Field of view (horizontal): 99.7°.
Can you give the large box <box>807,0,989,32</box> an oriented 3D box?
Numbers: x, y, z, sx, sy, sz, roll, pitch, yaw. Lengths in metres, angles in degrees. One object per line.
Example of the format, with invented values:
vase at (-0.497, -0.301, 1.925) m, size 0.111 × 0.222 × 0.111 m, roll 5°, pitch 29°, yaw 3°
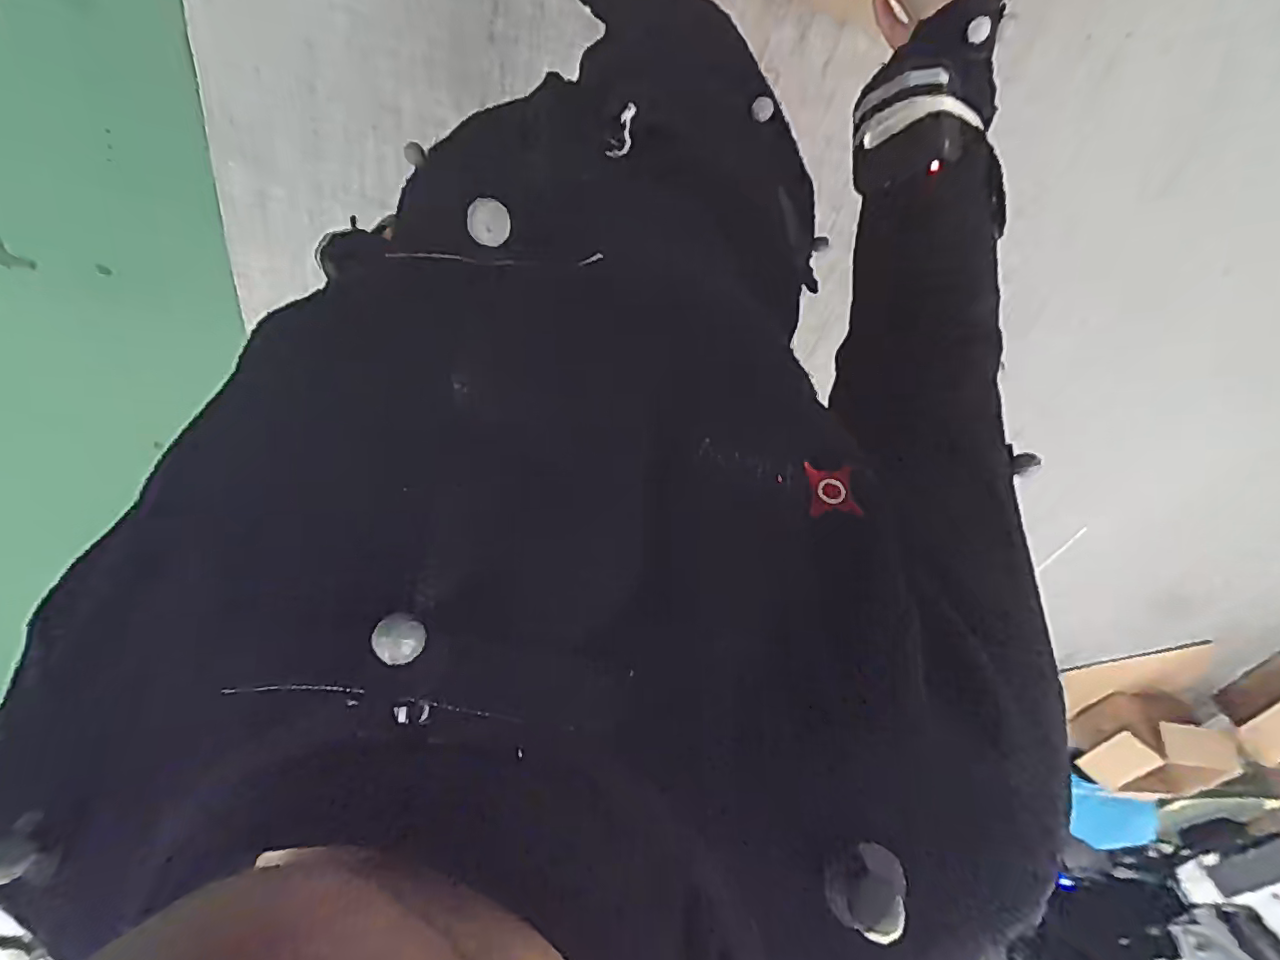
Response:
large box at (0.290, -0.846, 0.709) m, size 0.408 × 0.320 × 0.320 m, roll 11°, pitch 130°, yaw -12°
